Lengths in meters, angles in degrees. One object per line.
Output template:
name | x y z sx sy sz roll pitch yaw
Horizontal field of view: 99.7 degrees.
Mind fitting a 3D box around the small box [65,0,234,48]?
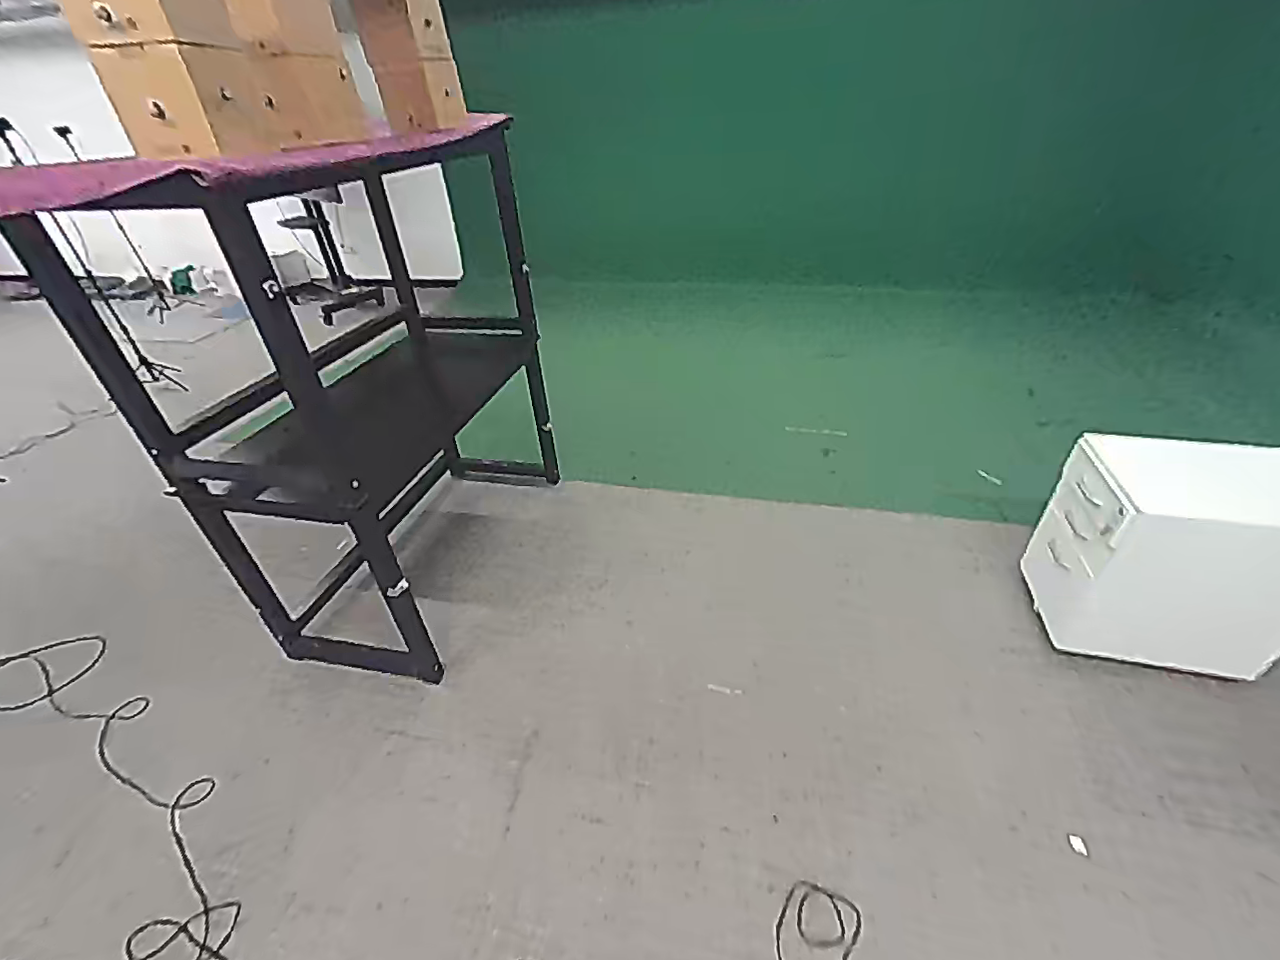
small box | -0.824 -0.818 0.894 0.168 0.176 0.179 -2 36 3

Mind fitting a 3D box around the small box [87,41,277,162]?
small box | -0.814 -0.685 0.988 0.168 0.176 0.179 0 36 4

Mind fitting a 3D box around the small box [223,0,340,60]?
small box | -0.788 -1.008 1.160 0.168 0.176 0.179 5 35 14

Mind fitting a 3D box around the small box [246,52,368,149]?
small box | -0.771 -0.873 1.253 0.168 0.176 0.179 5 36 14

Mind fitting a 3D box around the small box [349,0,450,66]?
small box | -0.650 -1.248 1.475 0.179 0.176 0.168 4 38 15
